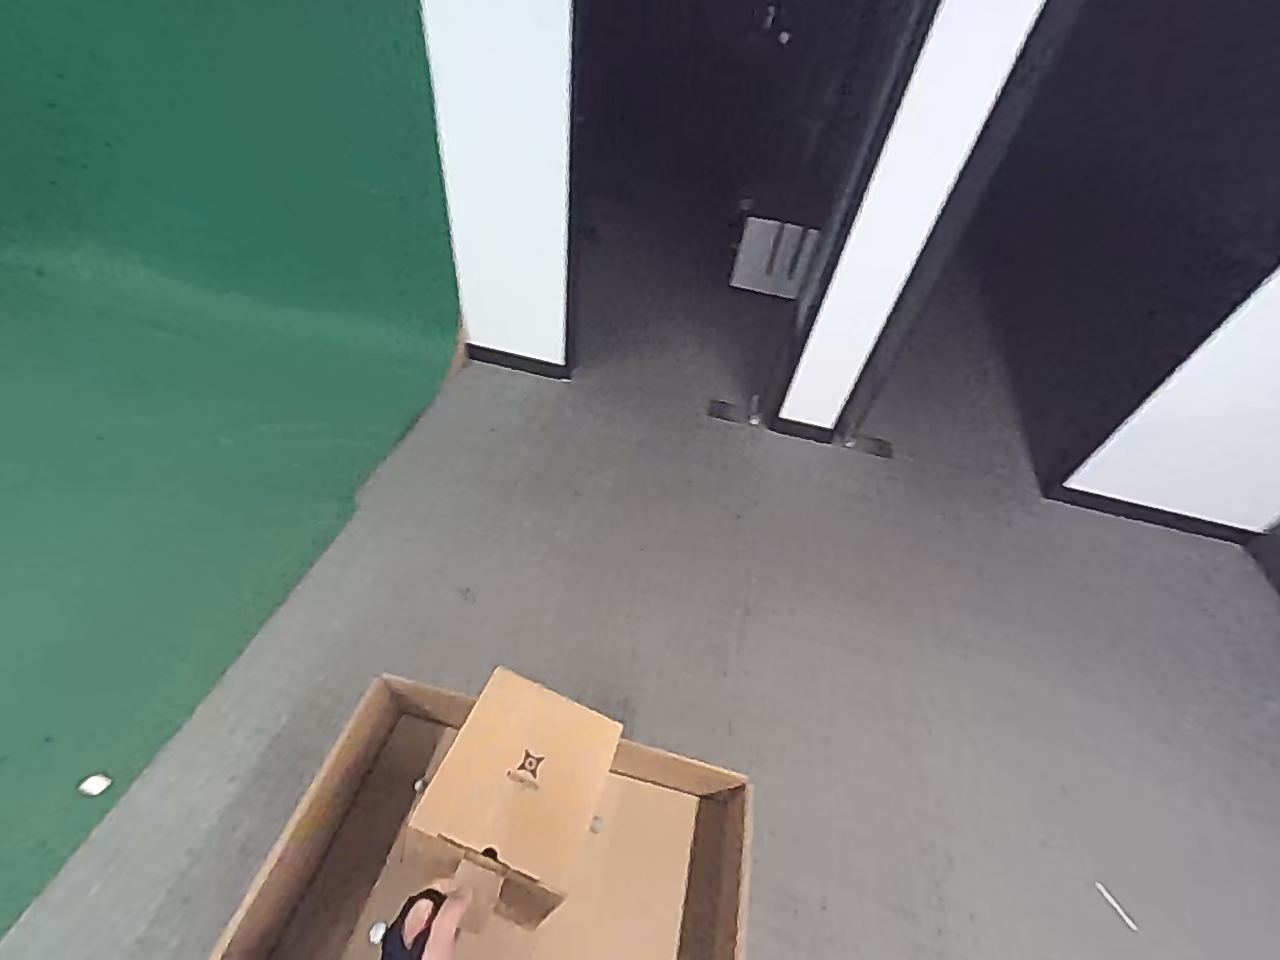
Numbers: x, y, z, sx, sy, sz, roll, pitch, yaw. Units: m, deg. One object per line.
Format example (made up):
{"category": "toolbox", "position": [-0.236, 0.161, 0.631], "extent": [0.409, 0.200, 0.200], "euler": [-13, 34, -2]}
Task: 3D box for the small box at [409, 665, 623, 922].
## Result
{"category": "small box", "position": [-0.143, 0.353, 0.610], "extent": [0.168, 0.176, 0.179], "euler": [26, 41, 1]}
